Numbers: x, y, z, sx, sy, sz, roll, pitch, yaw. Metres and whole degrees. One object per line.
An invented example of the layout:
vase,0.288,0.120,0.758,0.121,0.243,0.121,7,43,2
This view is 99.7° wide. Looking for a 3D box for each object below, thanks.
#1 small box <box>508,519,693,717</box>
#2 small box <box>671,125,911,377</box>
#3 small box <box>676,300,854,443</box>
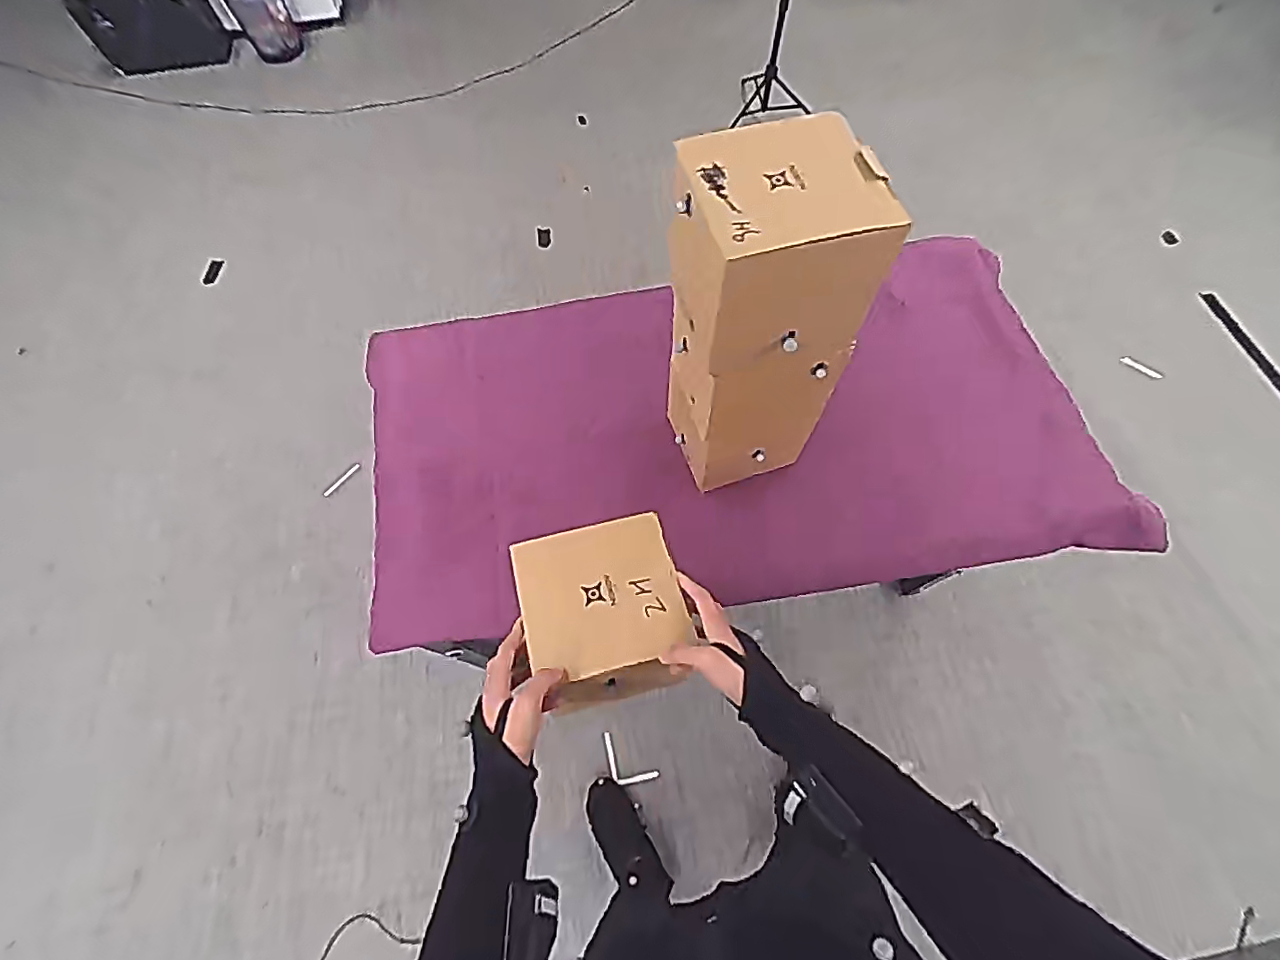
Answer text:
small box,-0.049,0.171,0.652,0.179,0.176,0.168,-11,59,-11
small box,0.139,-0.233,0.573,0.179,0.176,0.168,-12,64,-6
small box,0.149,-0.167,0.723,0.179,0.176,0.168,-13,65,-5
